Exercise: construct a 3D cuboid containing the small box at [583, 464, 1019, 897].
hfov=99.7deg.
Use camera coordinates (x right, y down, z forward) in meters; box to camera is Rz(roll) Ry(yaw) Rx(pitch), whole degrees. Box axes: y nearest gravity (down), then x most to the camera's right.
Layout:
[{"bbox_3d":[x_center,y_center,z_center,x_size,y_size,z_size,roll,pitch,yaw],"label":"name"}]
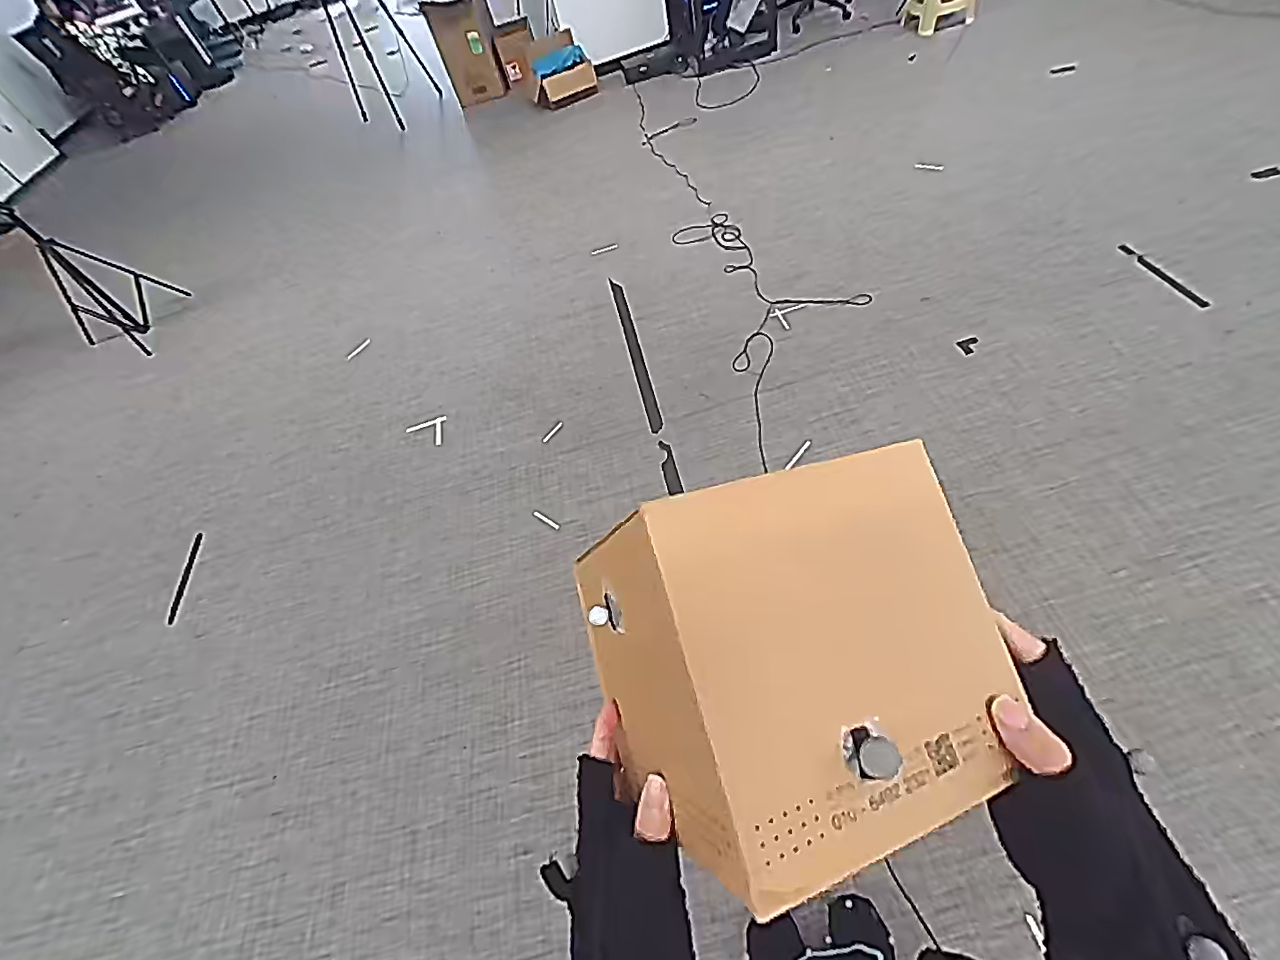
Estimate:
[{"bbox_3d":[0.075,0.108,0.335,0.168,0.179,0.176,-13,77,-20],"label":"small box"}]
